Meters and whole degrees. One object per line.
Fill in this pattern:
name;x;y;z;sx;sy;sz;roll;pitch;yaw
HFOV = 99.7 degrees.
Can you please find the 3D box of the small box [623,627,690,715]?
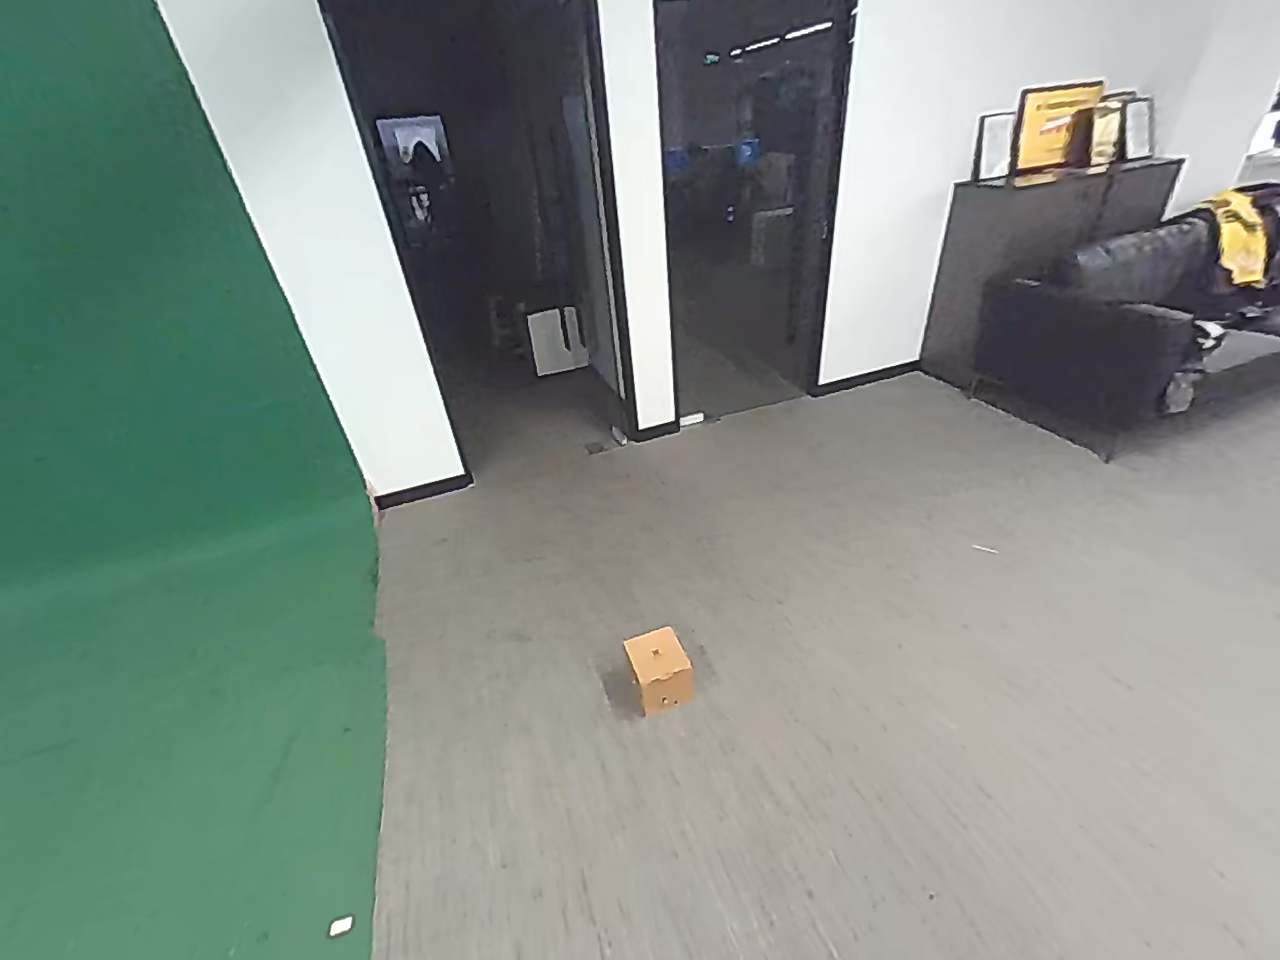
small box;0.050;0.606;1.716;0.168;0.176;0.179;-14;35;-14
